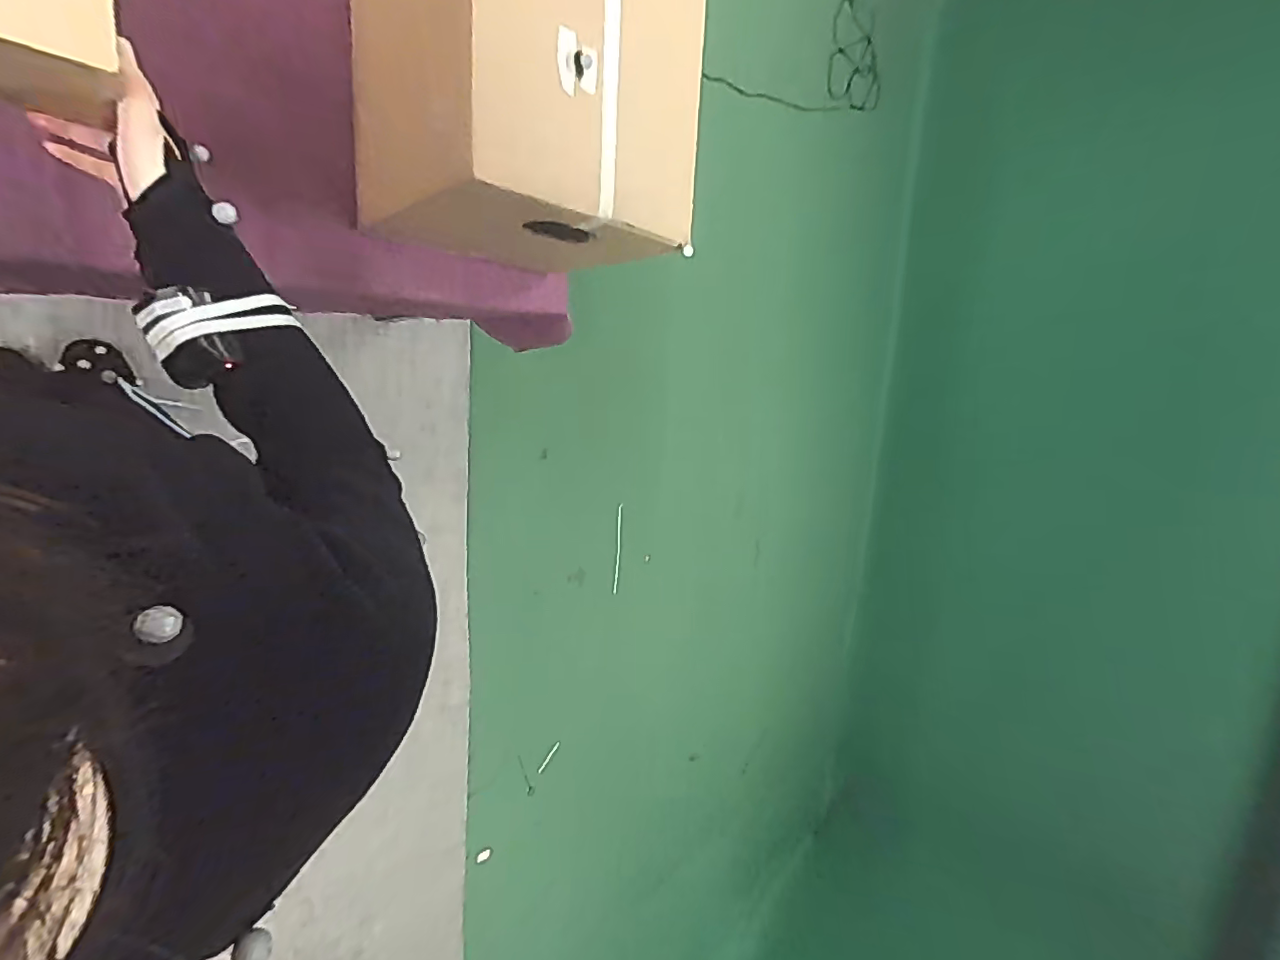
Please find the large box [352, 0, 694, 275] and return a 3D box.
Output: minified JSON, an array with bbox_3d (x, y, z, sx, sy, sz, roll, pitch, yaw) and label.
[{"bbox_3d":[-0.149,-0.510,0.689,0.320,0.320,0.408,-7,104,-45],"label":"large box"}]
